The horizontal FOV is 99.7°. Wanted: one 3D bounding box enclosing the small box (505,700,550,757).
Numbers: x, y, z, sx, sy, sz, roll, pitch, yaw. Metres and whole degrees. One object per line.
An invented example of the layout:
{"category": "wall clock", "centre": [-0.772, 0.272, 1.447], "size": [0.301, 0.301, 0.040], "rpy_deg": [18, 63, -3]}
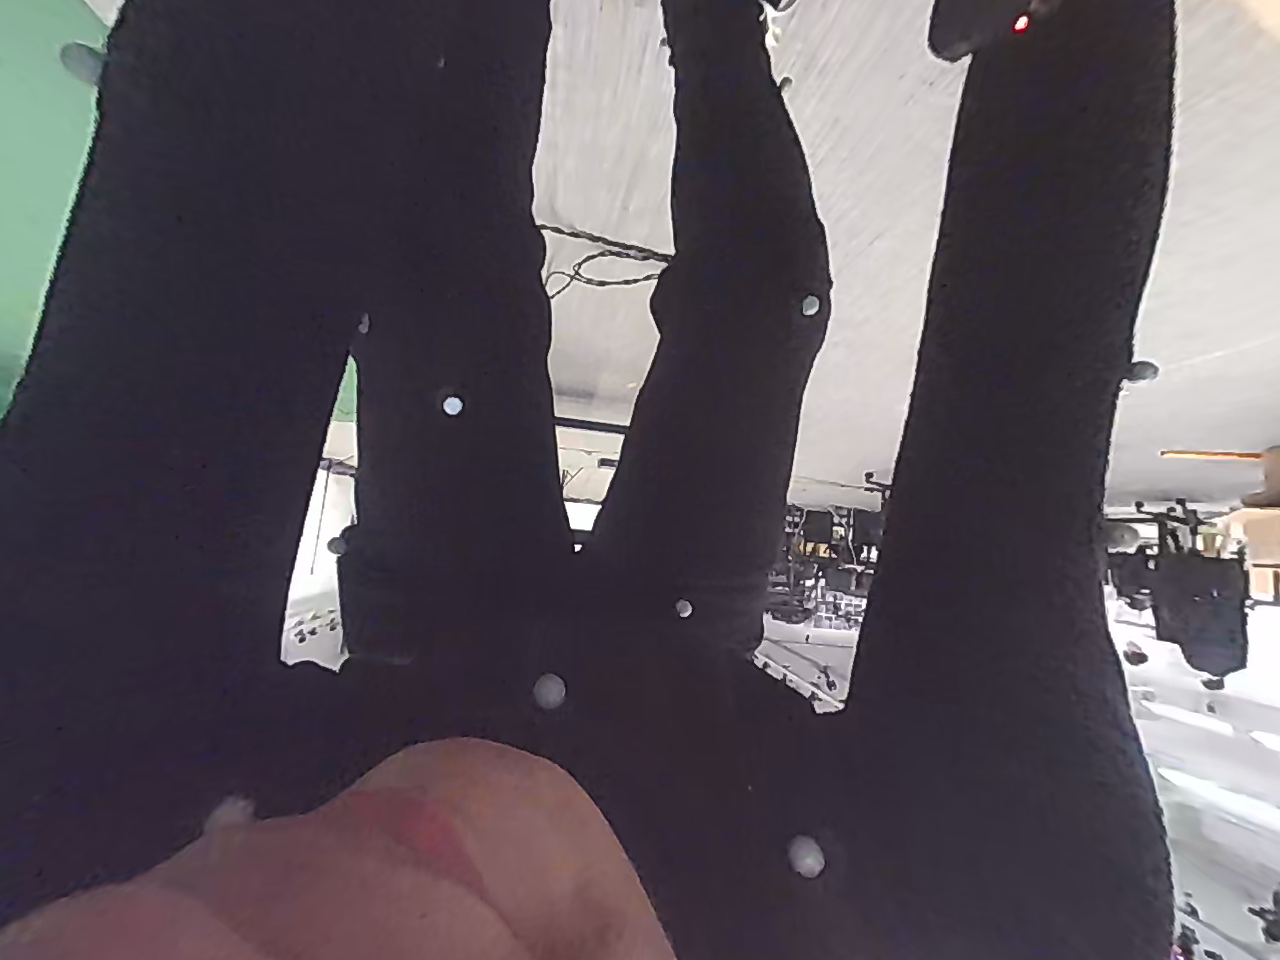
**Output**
{"category": "small box", "centre": [-0.475, 1.050, 2.292], "size": [0.168, 0.176, 0.179], "rpy_deg": [8, 177, -8]}
